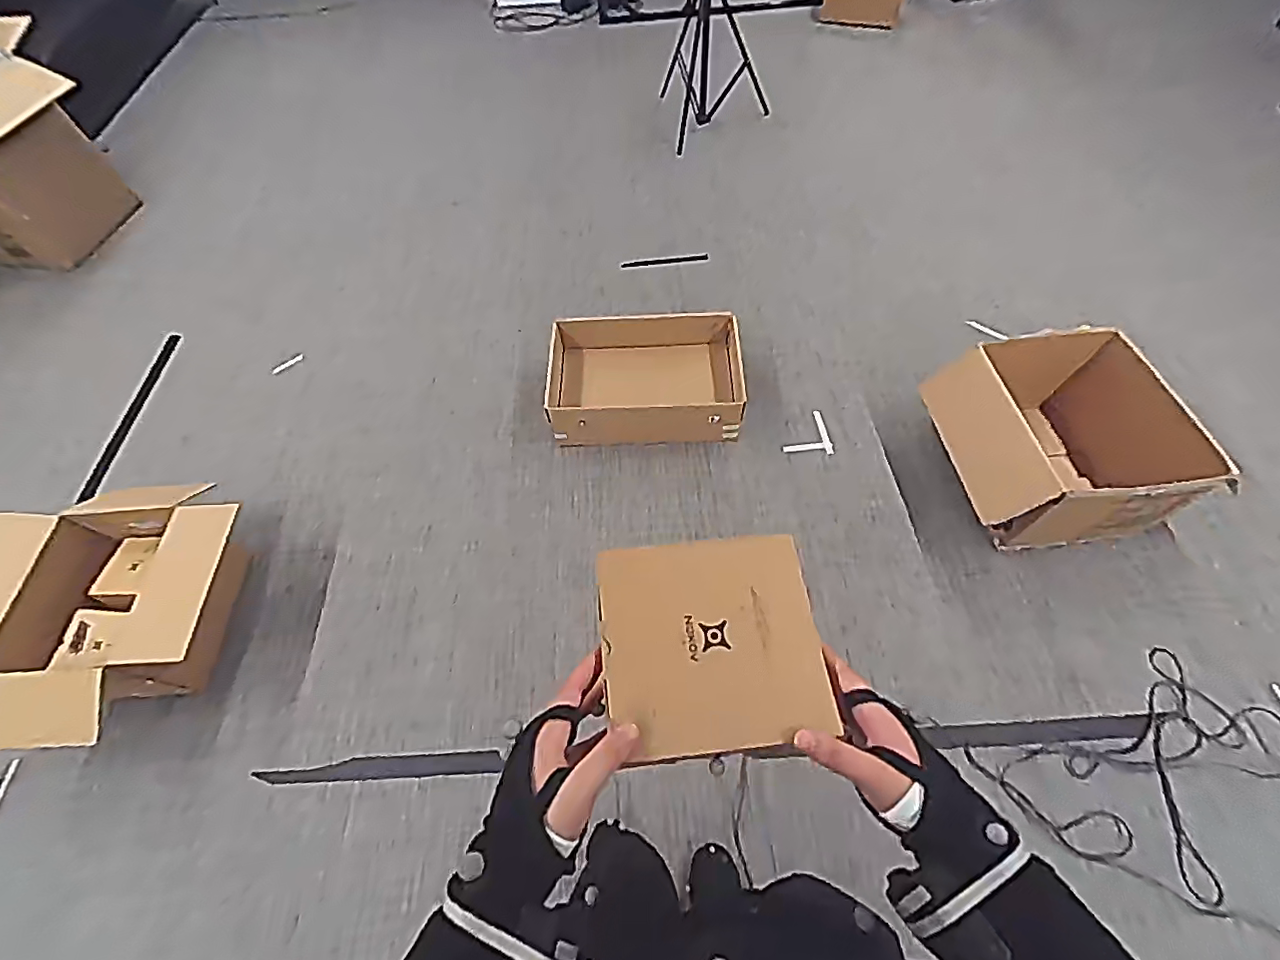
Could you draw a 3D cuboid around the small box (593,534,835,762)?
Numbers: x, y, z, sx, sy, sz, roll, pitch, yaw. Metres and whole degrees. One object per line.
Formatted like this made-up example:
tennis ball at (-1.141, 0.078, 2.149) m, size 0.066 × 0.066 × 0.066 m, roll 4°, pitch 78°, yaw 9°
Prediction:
small box at (0.052, 0.165, 0.511) m, size 0.179 × 0.176 × 0.168 m, roll -5°, pitch 63°, yaw -6°
